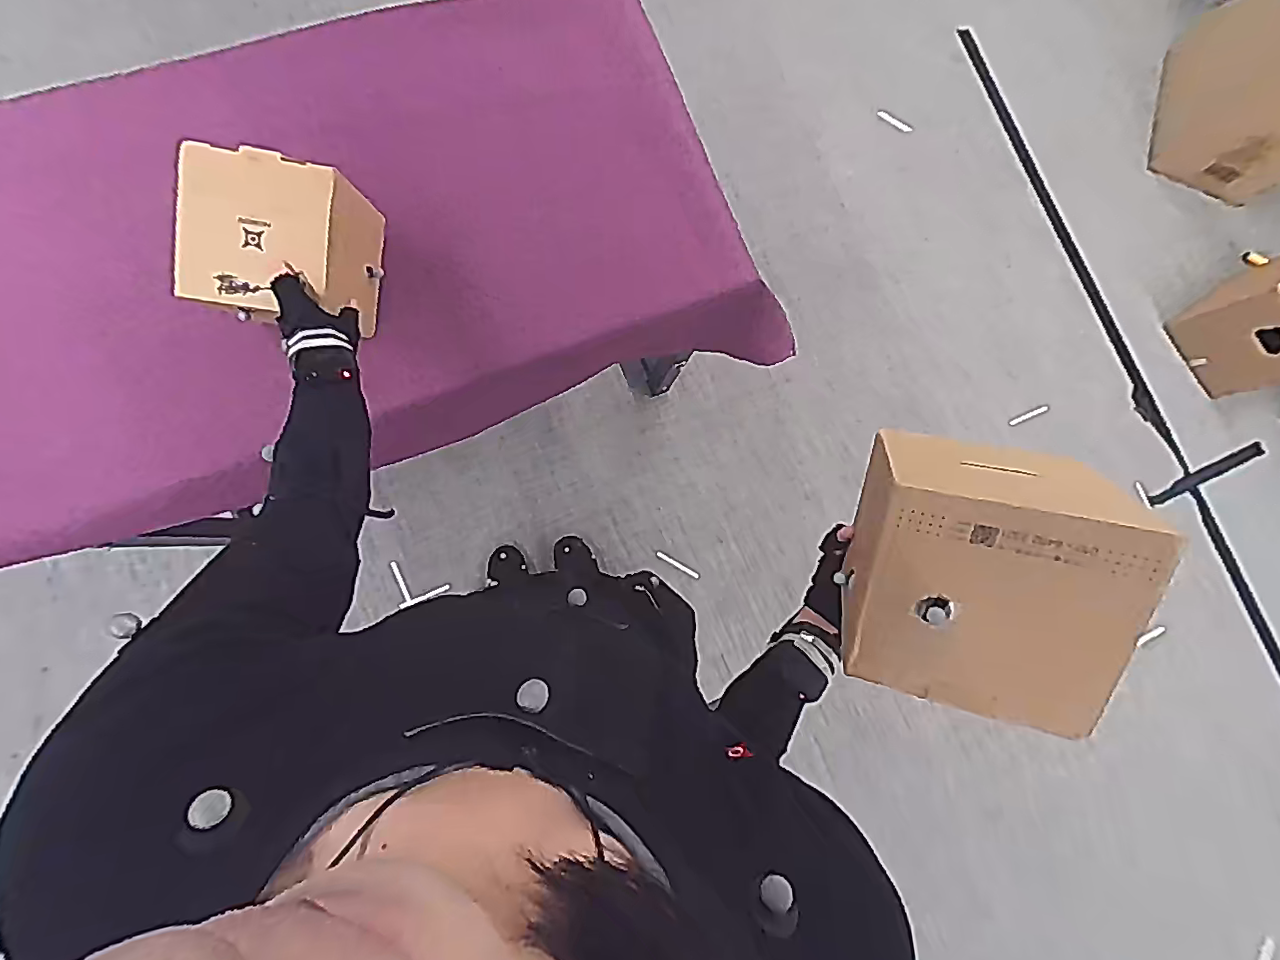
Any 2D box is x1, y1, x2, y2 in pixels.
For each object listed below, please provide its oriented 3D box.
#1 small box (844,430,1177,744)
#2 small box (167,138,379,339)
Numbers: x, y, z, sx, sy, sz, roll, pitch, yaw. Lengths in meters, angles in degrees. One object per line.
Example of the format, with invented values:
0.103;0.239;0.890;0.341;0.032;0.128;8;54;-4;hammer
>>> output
0.270;0.064;0.437;0.168;0.179;0.176;12;112;15;small box
-0.452;-0.292;0.694;0.168;0.176;0.179;8;96;-7;small box
